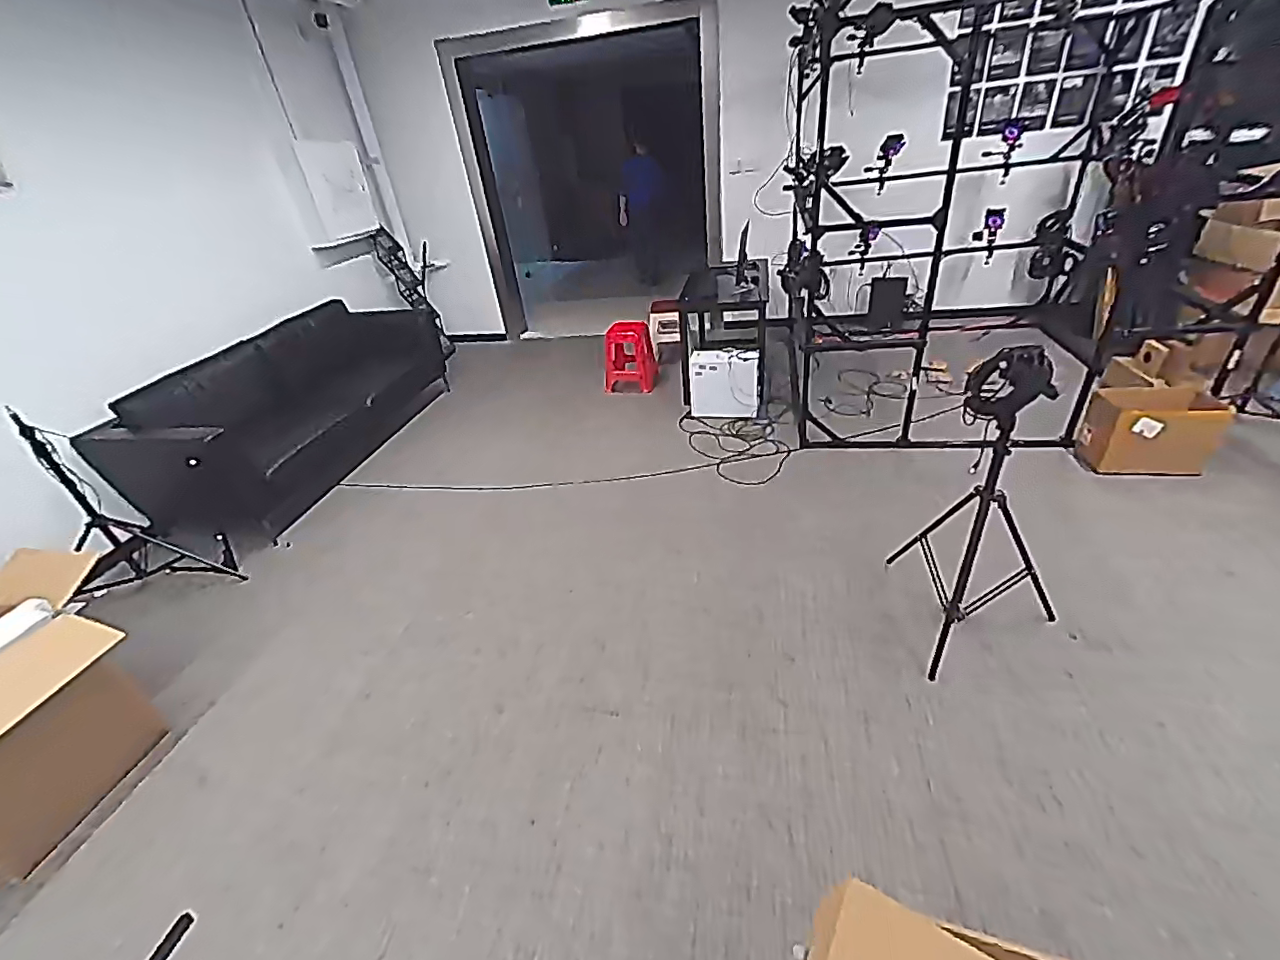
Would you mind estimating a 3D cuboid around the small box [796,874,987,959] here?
[{"bbox_3d":[0.271,0.585,0.596,0.179,0.176,0.168,22,49,23],"label":"small box"}]
